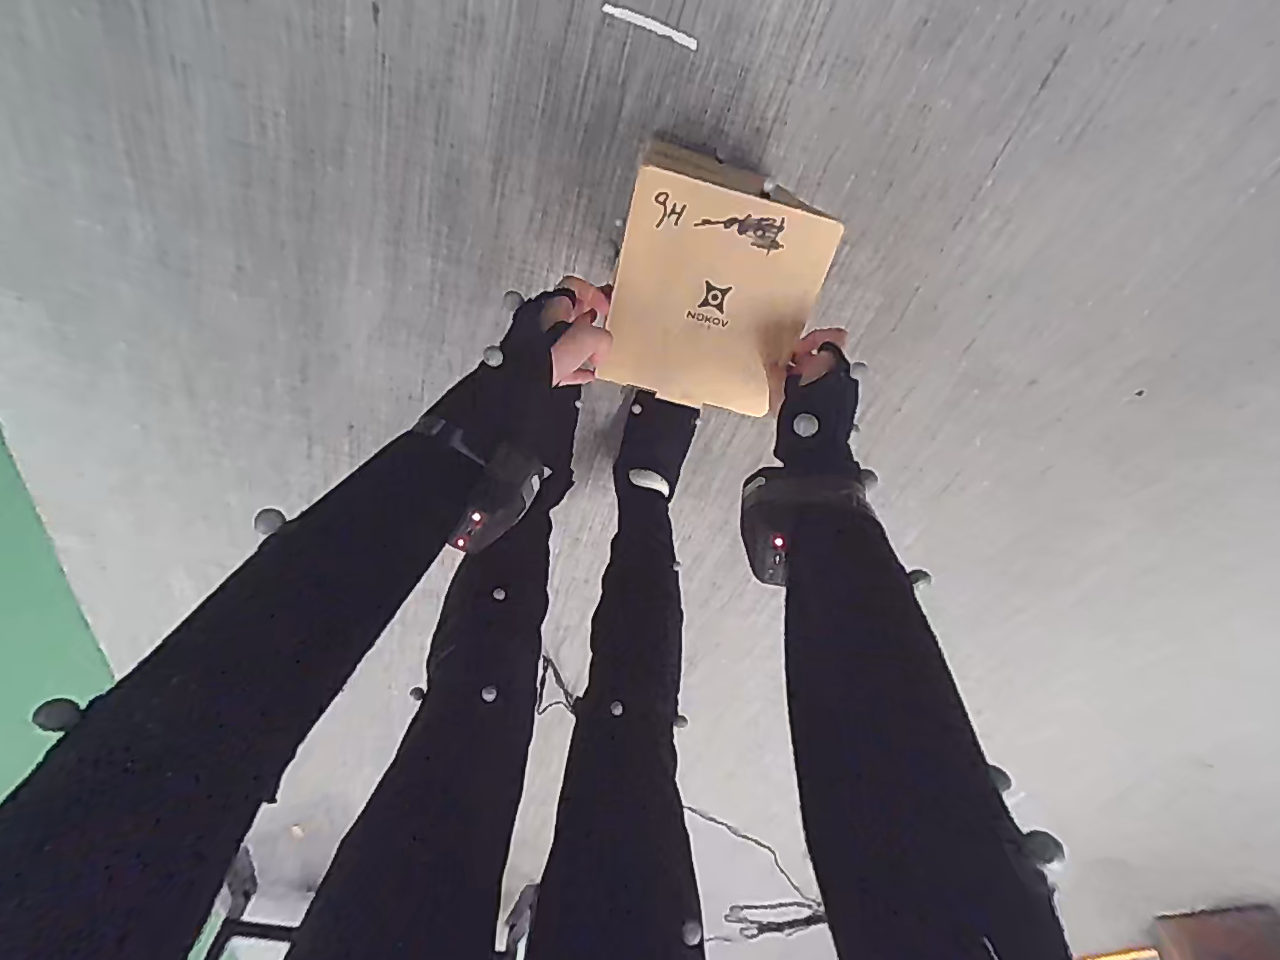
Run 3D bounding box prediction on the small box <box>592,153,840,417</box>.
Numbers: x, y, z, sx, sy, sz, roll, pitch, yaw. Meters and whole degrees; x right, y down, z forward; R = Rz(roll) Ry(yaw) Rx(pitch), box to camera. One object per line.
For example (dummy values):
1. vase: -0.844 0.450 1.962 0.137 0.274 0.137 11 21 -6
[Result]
1. small box: 0.058 -0.190 0.515 0.168 0.176 0.179 13 123 -8
